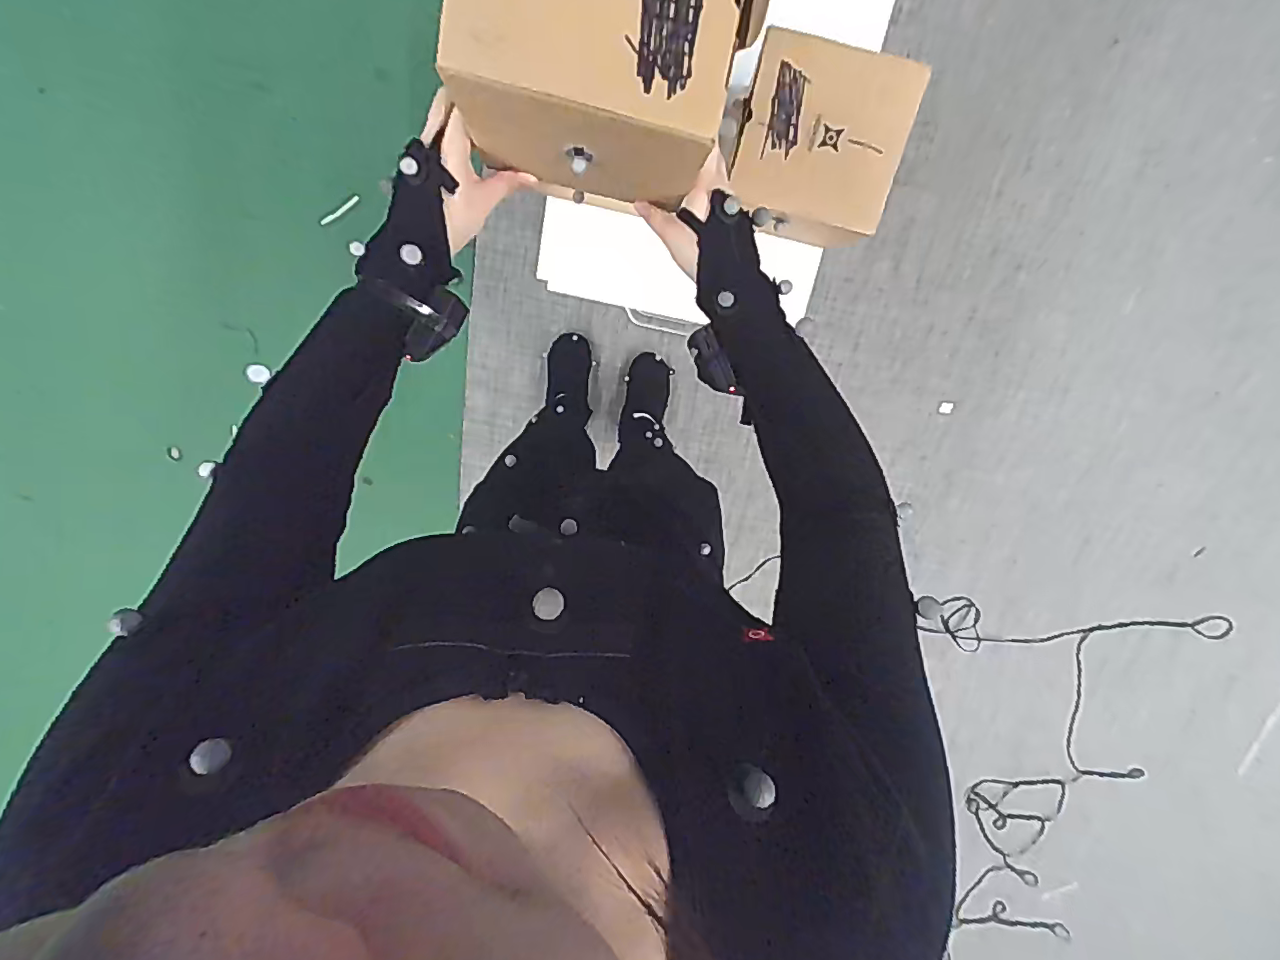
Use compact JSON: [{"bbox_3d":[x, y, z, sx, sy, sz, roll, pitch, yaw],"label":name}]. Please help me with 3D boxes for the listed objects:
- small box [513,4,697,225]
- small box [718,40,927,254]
[{"bbox_3d":[-0.039,-0.425,0.662,0.179,0.176,0.168,12,108,-2],"label":"small box"},{"bbox_3d":[0.202,-0.386,0.663,0.179,0.176,0.168,14,108,-1],"label":"small box"}]
